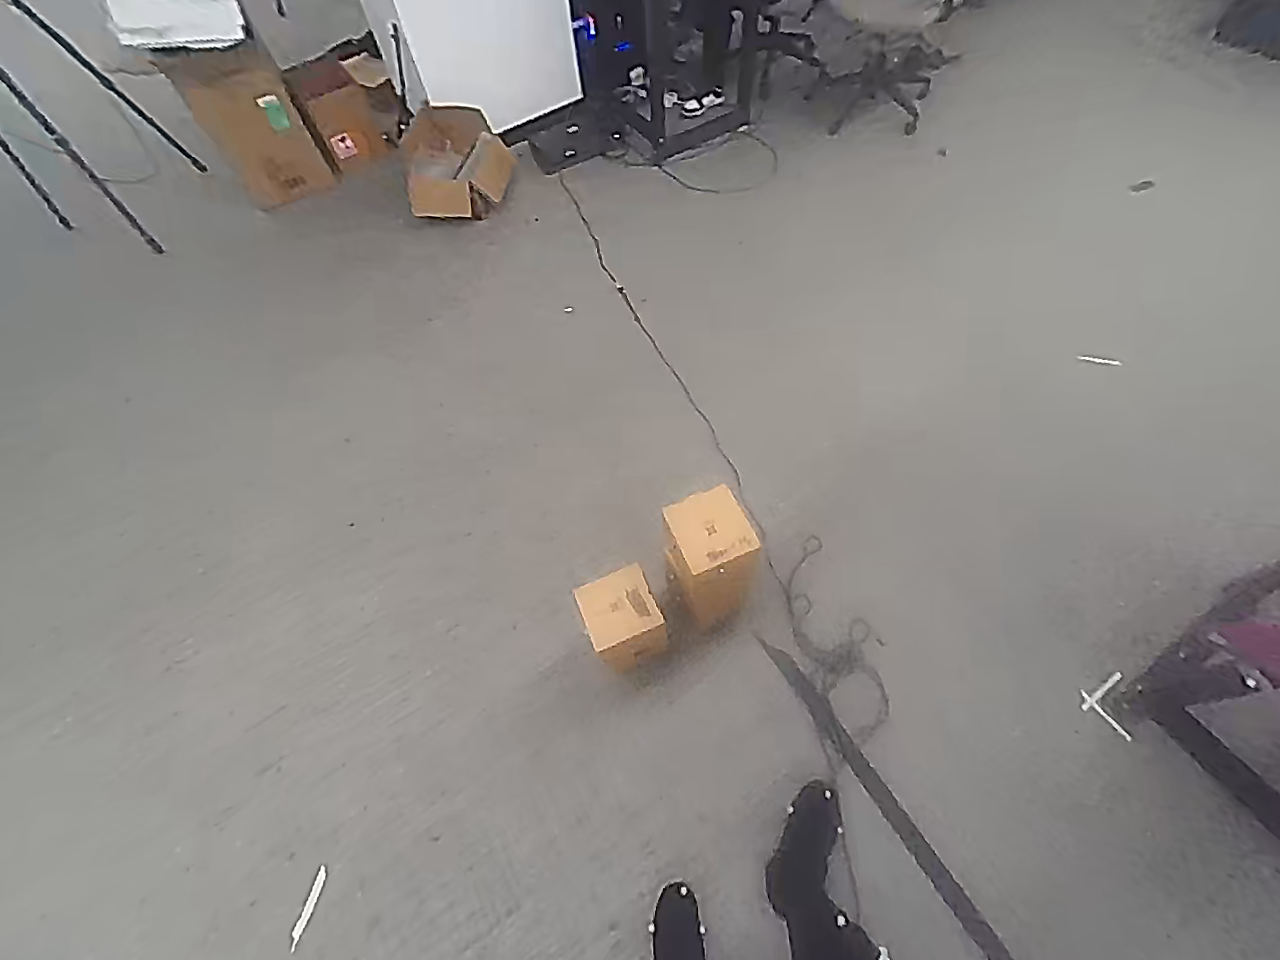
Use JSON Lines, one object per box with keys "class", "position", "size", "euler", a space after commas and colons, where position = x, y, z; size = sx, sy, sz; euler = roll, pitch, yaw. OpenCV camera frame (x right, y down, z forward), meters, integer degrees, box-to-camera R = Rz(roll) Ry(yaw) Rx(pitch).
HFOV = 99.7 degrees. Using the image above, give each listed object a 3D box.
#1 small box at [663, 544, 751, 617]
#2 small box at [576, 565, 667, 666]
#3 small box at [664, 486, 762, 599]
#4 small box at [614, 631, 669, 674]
{"class": "small box", "position": [0.179, 0.228, 1.399], "size": [0.179, 0.176, 0.168], "euler": [-28, 61, -11]}
{"class": "small box", "position": [-0.042, 0.342, 1.348], "size": [0.179, 0.176, 0.168], "euler": [-22, 60, -7]}
{"class": "small box", "position": [0.164, 0.148, 1.256], "size": [0.168, 0.176, 0.179], "euler": [-22, 59, -7]}
{"class": "small box", "position": [-0.030, 0.410, 1.498], "size": [0.168, 0.176, 0.179], "euler": [-26, 61, -9]}
